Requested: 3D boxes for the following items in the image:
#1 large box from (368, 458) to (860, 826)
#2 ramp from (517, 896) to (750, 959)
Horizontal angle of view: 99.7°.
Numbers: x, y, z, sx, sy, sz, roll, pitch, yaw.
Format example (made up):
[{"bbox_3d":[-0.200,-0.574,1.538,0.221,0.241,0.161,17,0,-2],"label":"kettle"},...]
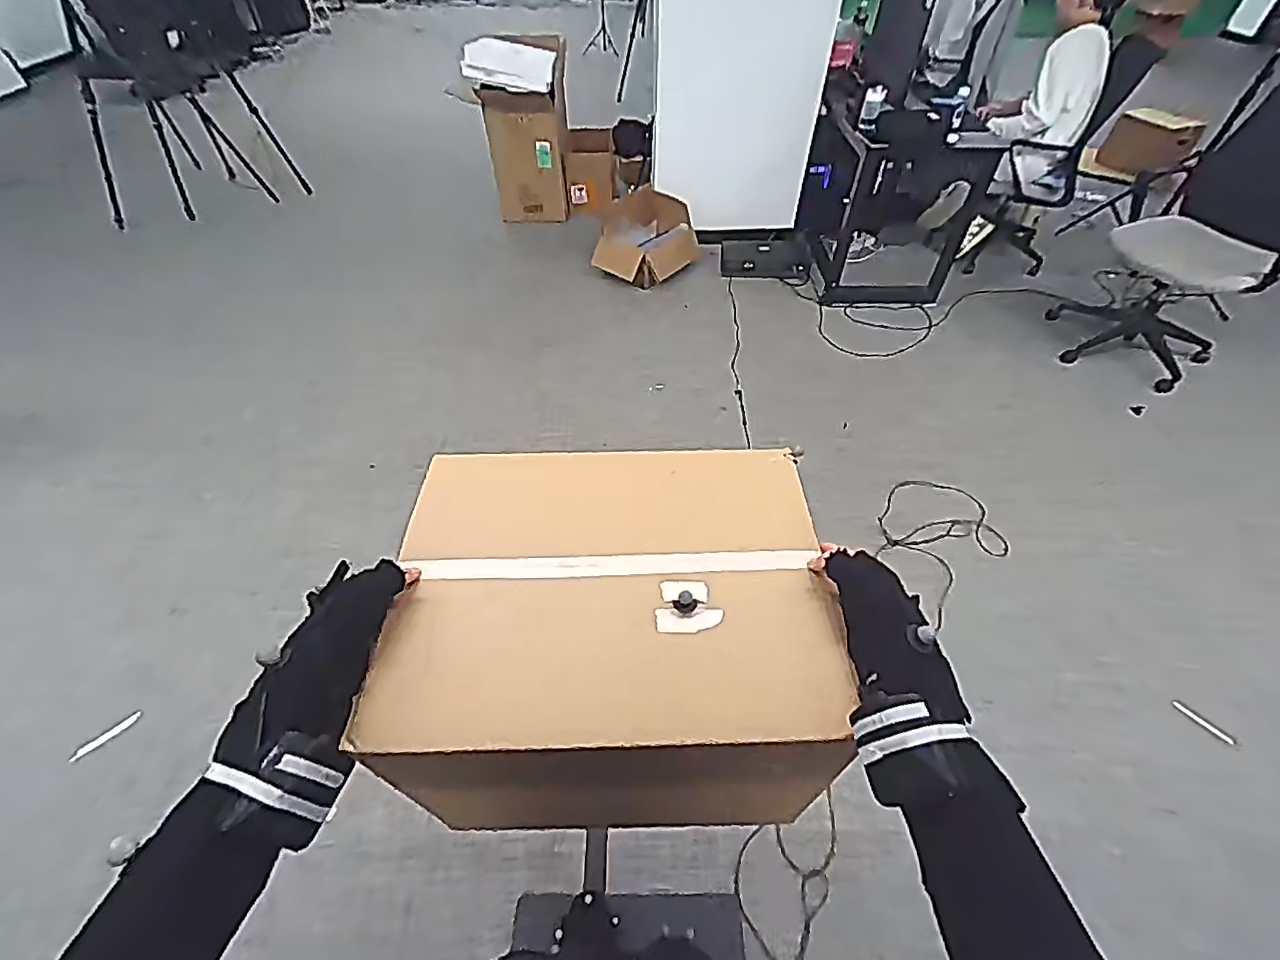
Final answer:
[{"bbox_3d":[-0.025,0.191,0.638,0.408,0.320,0.320,-1,48,-1],"label":"large box"},{"bbox_3d":[-0.015,1.247,0.822,0.509,0.206,0.991,-2,49,0],"label":"ramp"}]
